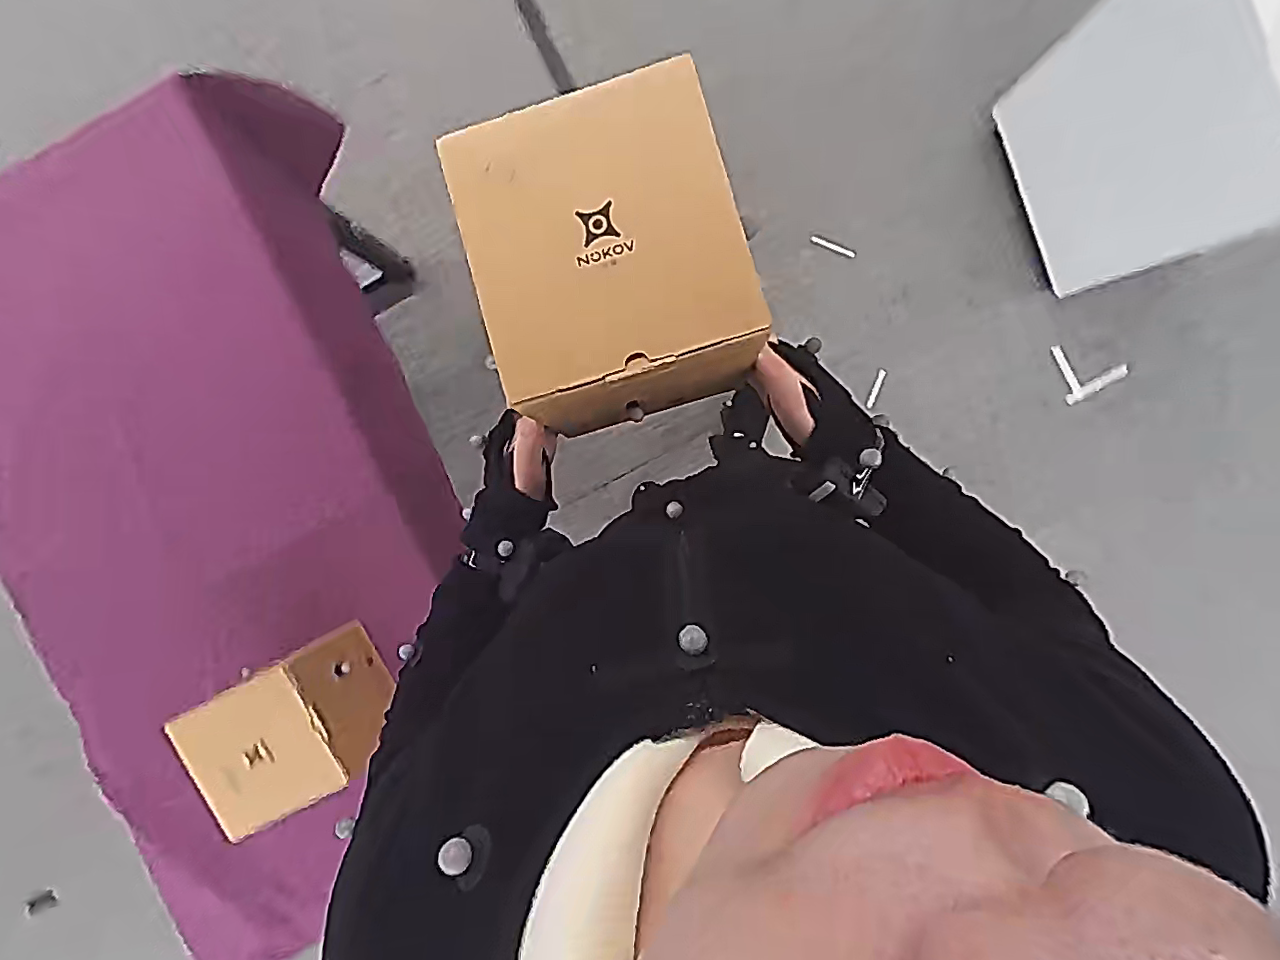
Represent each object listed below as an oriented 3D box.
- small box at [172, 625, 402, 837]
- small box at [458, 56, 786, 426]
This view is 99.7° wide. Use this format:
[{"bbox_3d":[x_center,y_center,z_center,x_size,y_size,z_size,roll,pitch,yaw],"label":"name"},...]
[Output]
[{"bbox_3d":[-0.456,0.324,0.736,0.179,0.176,0.168,-27,93,4],"label":"small box"},{"bbox_3d":[-0.009,-0.151,0.404,0.168,0.176,0.179,-15,89,3],"label":"small box"}]
